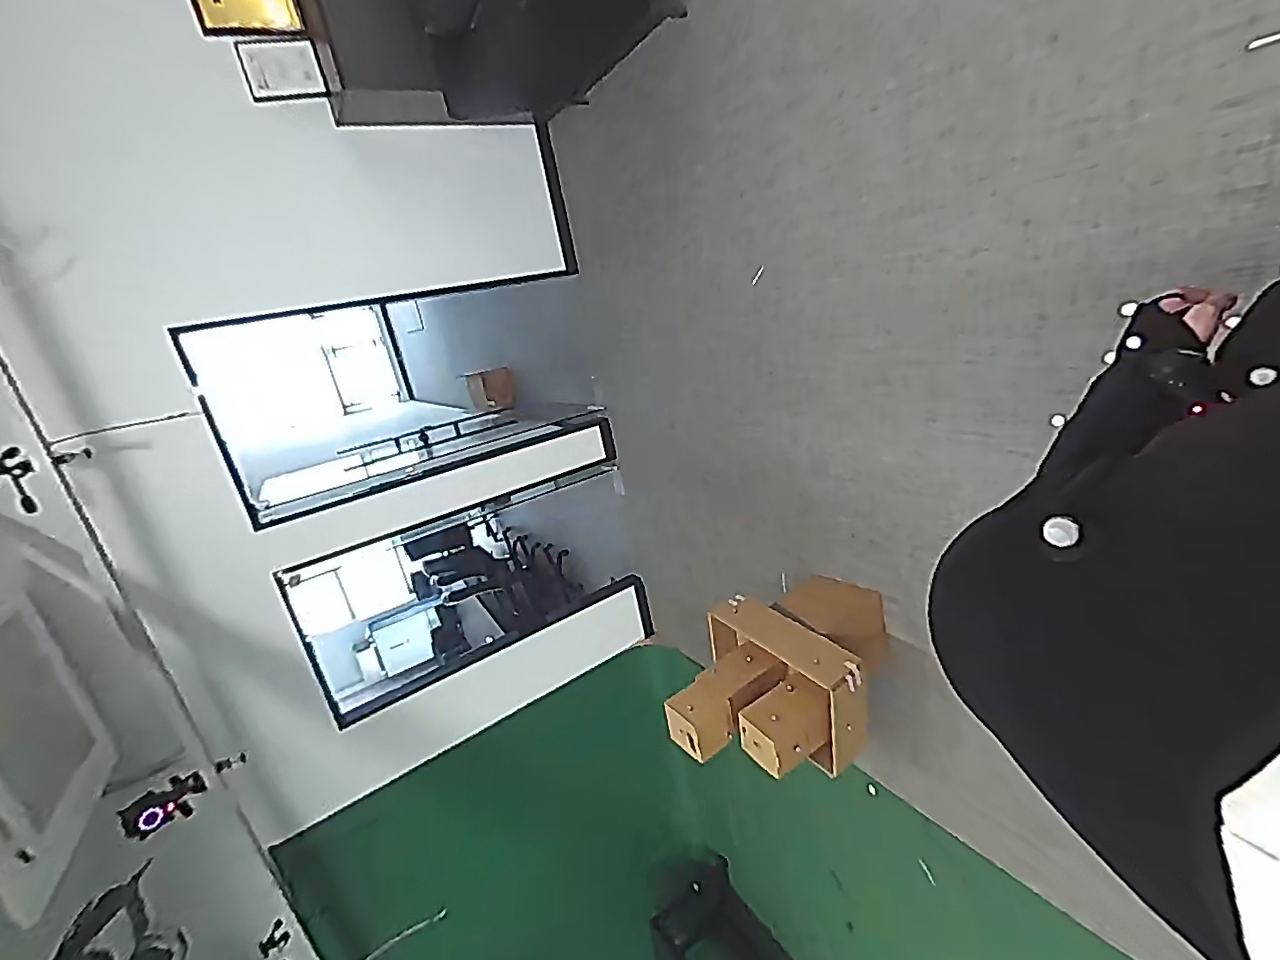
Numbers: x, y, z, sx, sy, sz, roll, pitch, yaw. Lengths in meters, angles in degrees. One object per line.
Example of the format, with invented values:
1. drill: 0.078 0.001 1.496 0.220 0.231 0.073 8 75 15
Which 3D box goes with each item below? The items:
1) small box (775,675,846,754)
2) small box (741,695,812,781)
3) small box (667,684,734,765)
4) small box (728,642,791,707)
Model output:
1. small box: 0.607 0.826 1.930 0.179 0.176 0.168 24 128 55
2. small box: 0.472 0.876 1.855 0.179 0.176 0.168 22 126 54
3. small box: 0.224 0.873 1.953 0.179 0.176 0.168 15 120 54
4. small box: 0.475 0.768 2.139 0.179 0.176 0.168 17 122 53
